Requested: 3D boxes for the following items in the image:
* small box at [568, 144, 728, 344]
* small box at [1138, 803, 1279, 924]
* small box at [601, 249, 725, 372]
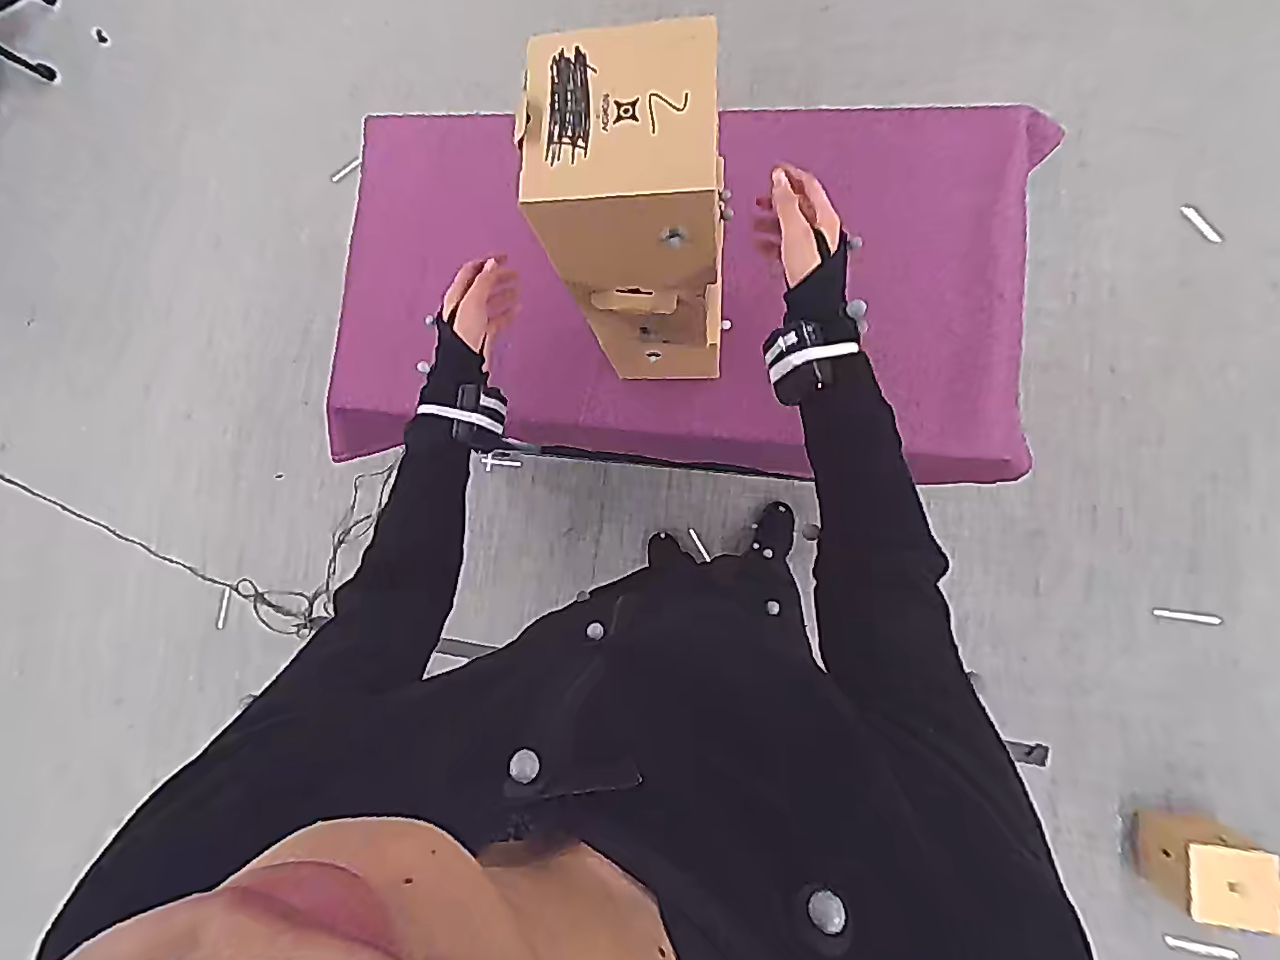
[{"bbox_3d":[0.019,-0.297,0.704,0.168,0.176,0.179,8,85,10],"label":"small box"},{"bbox_3d":[1.335,0.898,1.285,0.179,0.176,0.168,2,85,9],"label":"small box"},{"bbox_3d":[0.044,-0.275,0.865,0.179,0.176,0.168,2,84,8],"label":"small box"}]
